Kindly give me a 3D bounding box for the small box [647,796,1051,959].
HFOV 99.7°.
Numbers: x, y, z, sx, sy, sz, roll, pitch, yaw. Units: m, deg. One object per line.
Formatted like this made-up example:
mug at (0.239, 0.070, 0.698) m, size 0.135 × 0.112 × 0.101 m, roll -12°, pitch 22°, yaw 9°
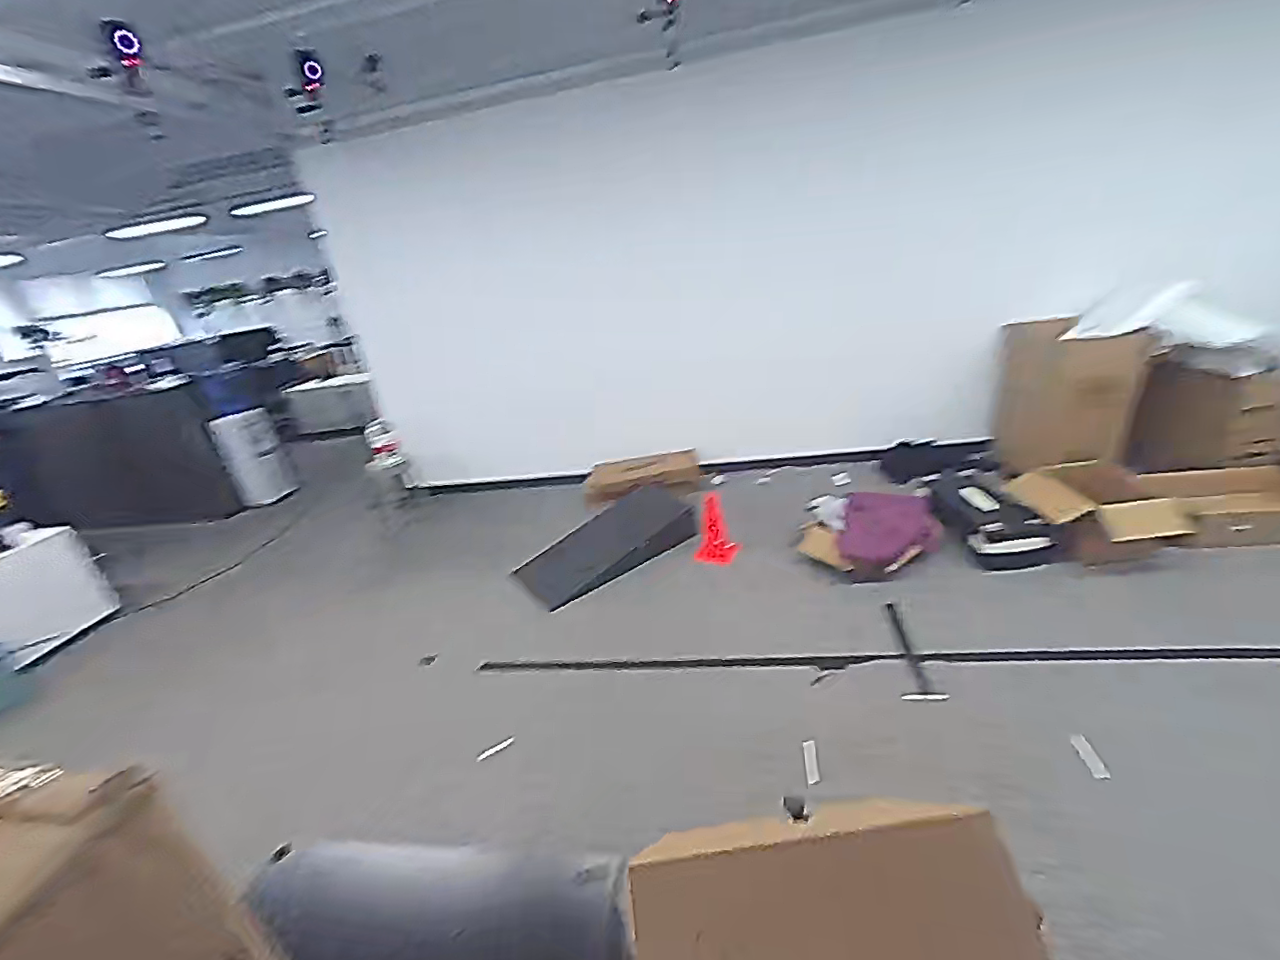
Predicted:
small box at (0.101, 0.274, 0.278) m, size 0.168 × 0.176 × 0.179 m, roll -10°, pitch 58°, yaw 5°
